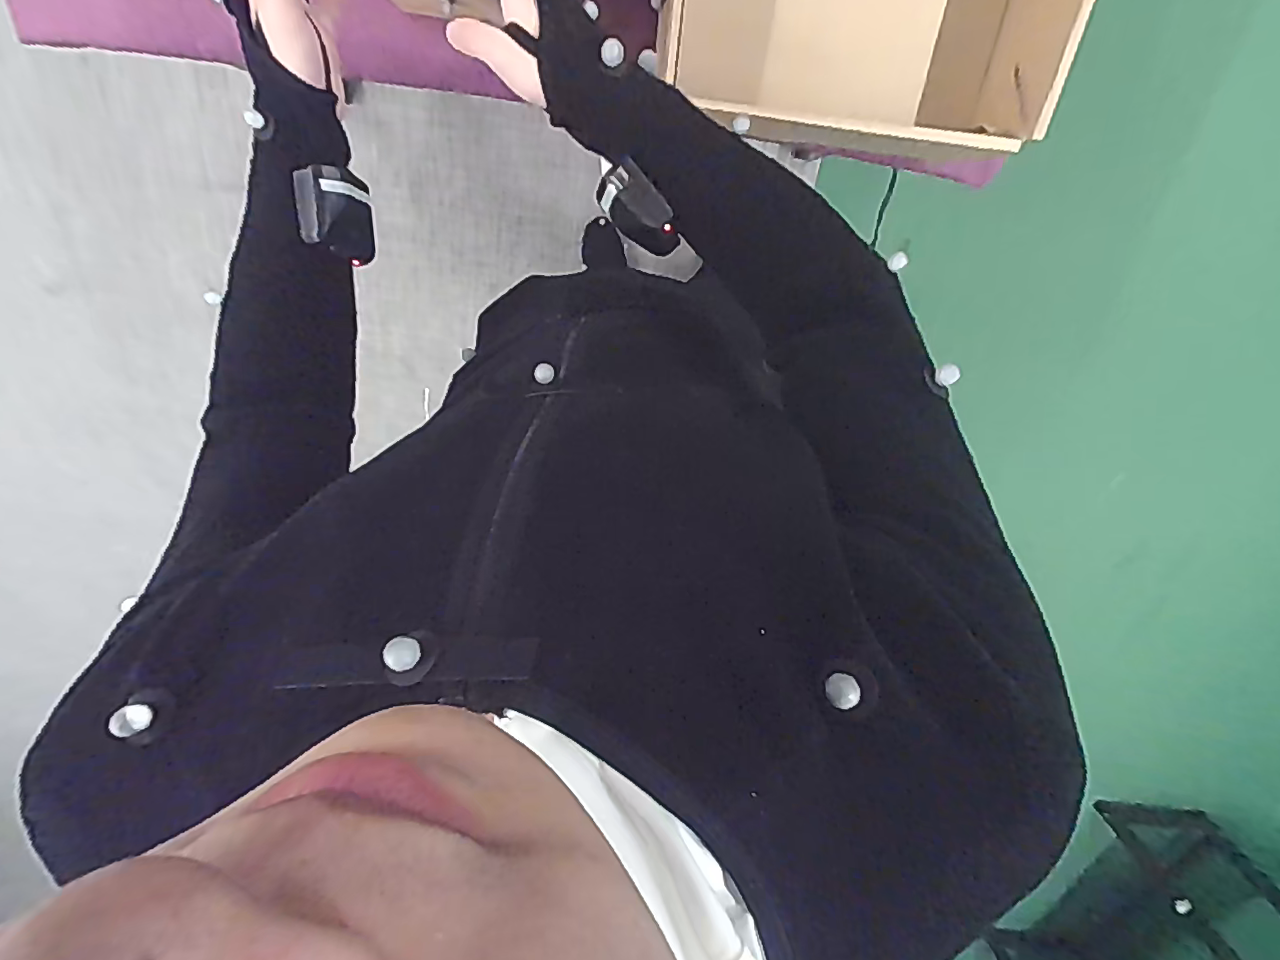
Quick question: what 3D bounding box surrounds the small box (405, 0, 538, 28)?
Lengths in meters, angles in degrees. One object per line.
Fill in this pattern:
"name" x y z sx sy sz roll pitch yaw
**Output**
"small box" -0.190 -0.590 0.536 0.168 0.176 0.179 6 115 -6
